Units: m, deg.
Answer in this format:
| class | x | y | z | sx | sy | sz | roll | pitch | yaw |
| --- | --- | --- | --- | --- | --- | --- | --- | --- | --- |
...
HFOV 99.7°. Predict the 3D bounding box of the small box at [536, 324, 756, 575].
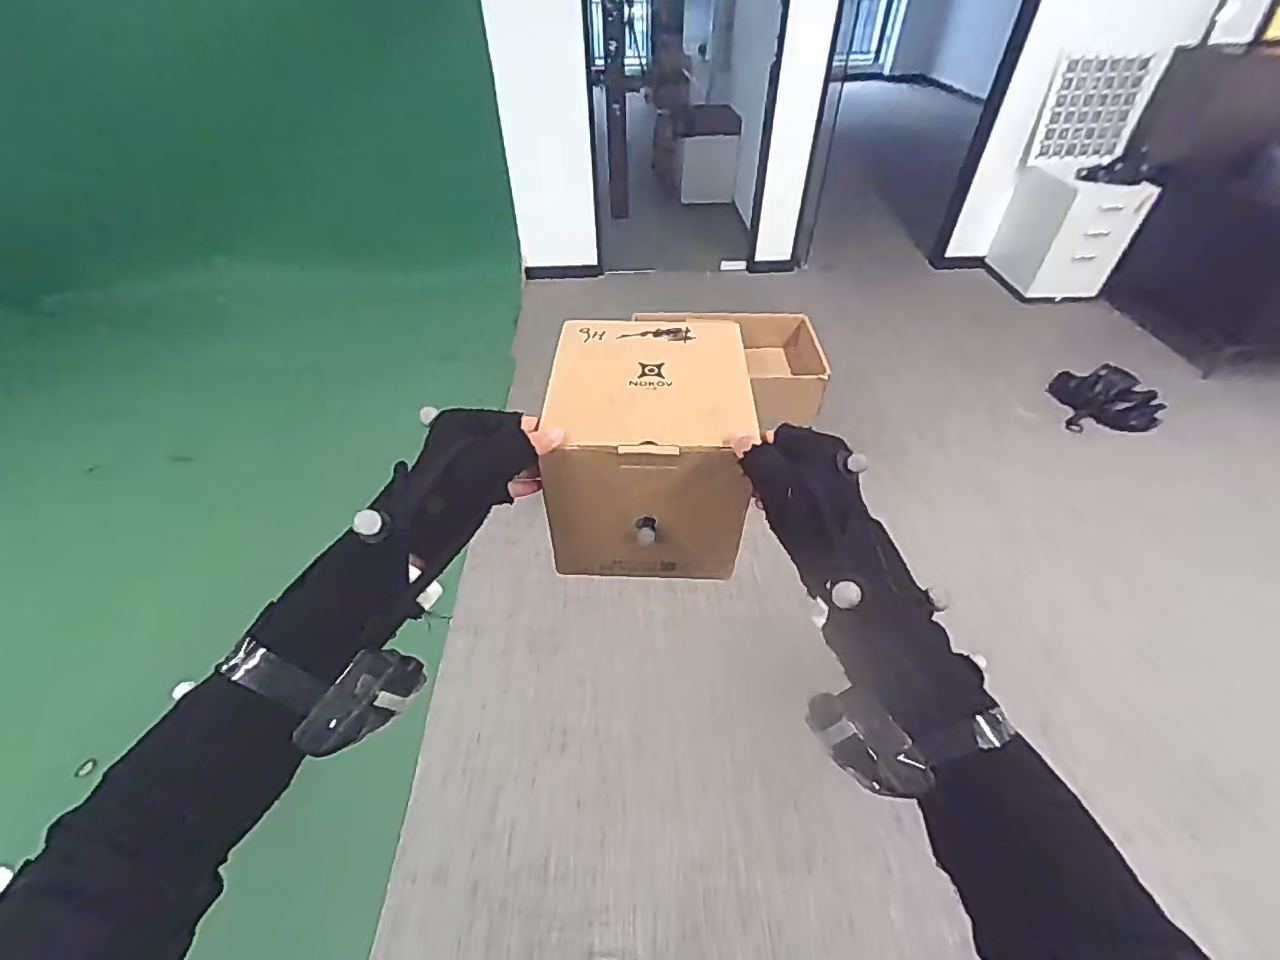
| class | x | y | z | sx | sy | sz | roll | pitch | yaw |
| --- | --- | --- | --- | --- | --- | --- | --- | --- | --- |
| small box | 0.008 | -0.027 | 0.507 | 0.168 | 0.176 | 0.179 | 2 | 47 | 1 |
